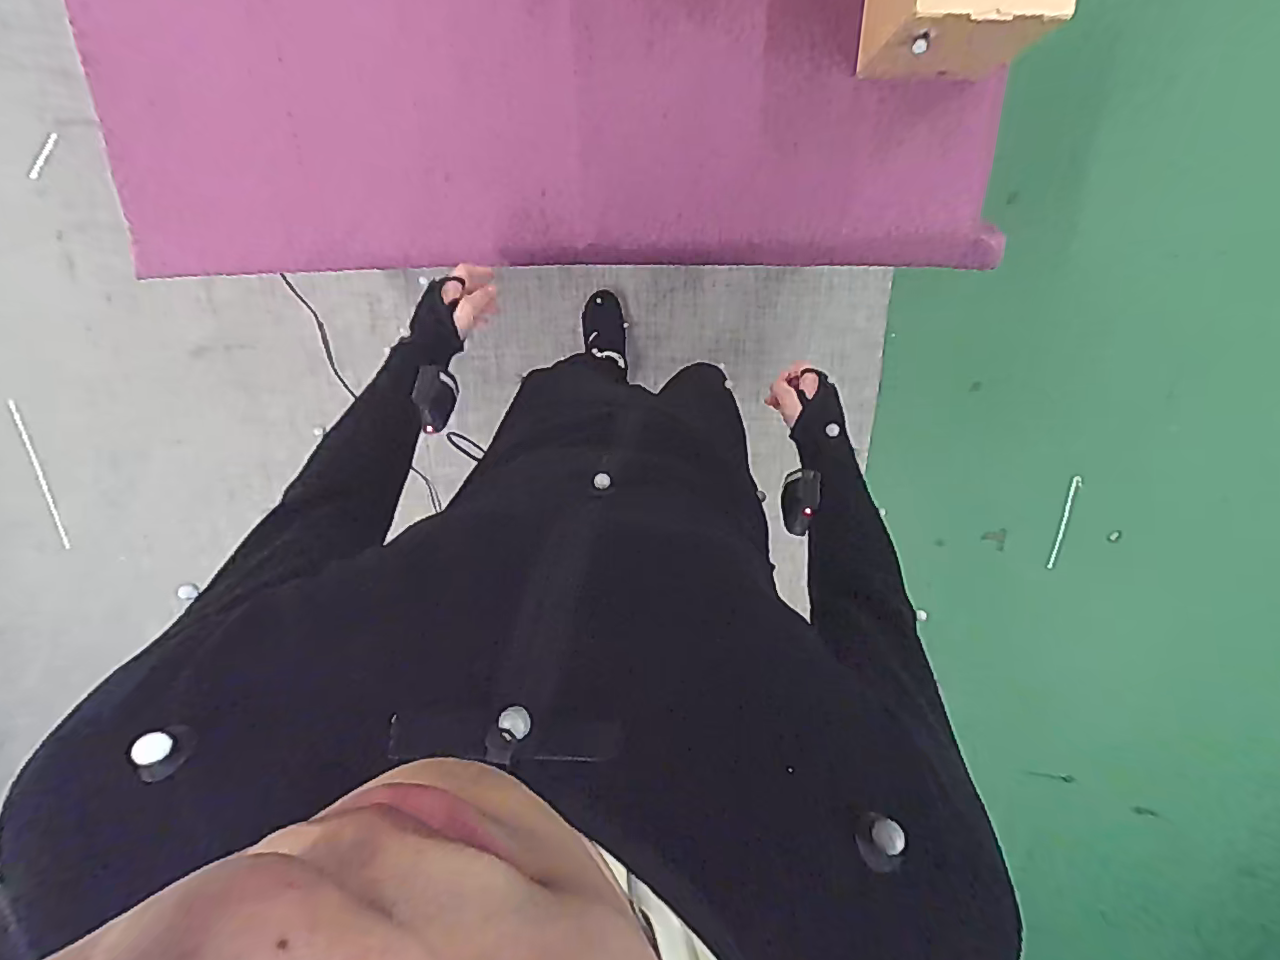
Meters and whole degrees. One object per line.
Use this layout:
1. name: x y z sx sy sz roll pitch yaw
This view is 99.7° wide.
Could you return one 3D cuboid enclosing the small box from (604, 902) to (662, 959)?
1. small box: -0.021 1.395 1.596 0.168 0.176 0.179 1 109 -2
